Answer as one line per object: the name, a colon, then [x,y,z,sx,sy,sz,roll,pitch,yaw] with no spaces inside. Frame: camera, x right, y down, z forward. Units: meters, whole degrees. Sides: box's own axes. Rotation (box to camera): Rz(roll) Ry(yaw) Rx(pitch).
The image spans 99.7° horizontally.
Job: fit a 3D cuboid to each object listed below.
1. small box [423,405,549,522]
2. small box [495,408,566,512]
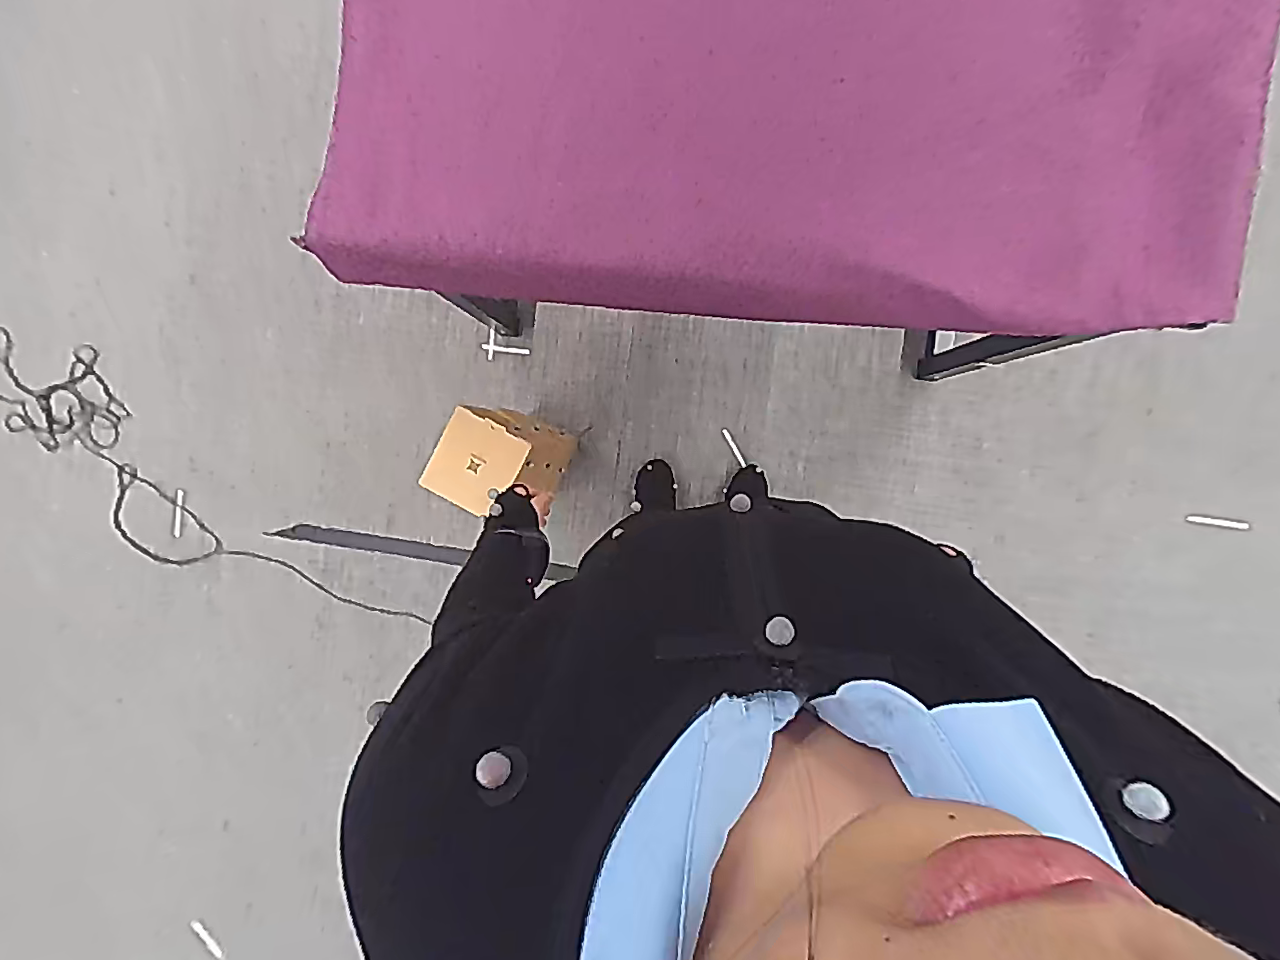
small box: [-0.304,-0.035,1.109,0.168,0.176,0.179,28,94,1]
small box: [-0.291,-0.051,1.271,0.168,0.176,0.179,35,96,0]
